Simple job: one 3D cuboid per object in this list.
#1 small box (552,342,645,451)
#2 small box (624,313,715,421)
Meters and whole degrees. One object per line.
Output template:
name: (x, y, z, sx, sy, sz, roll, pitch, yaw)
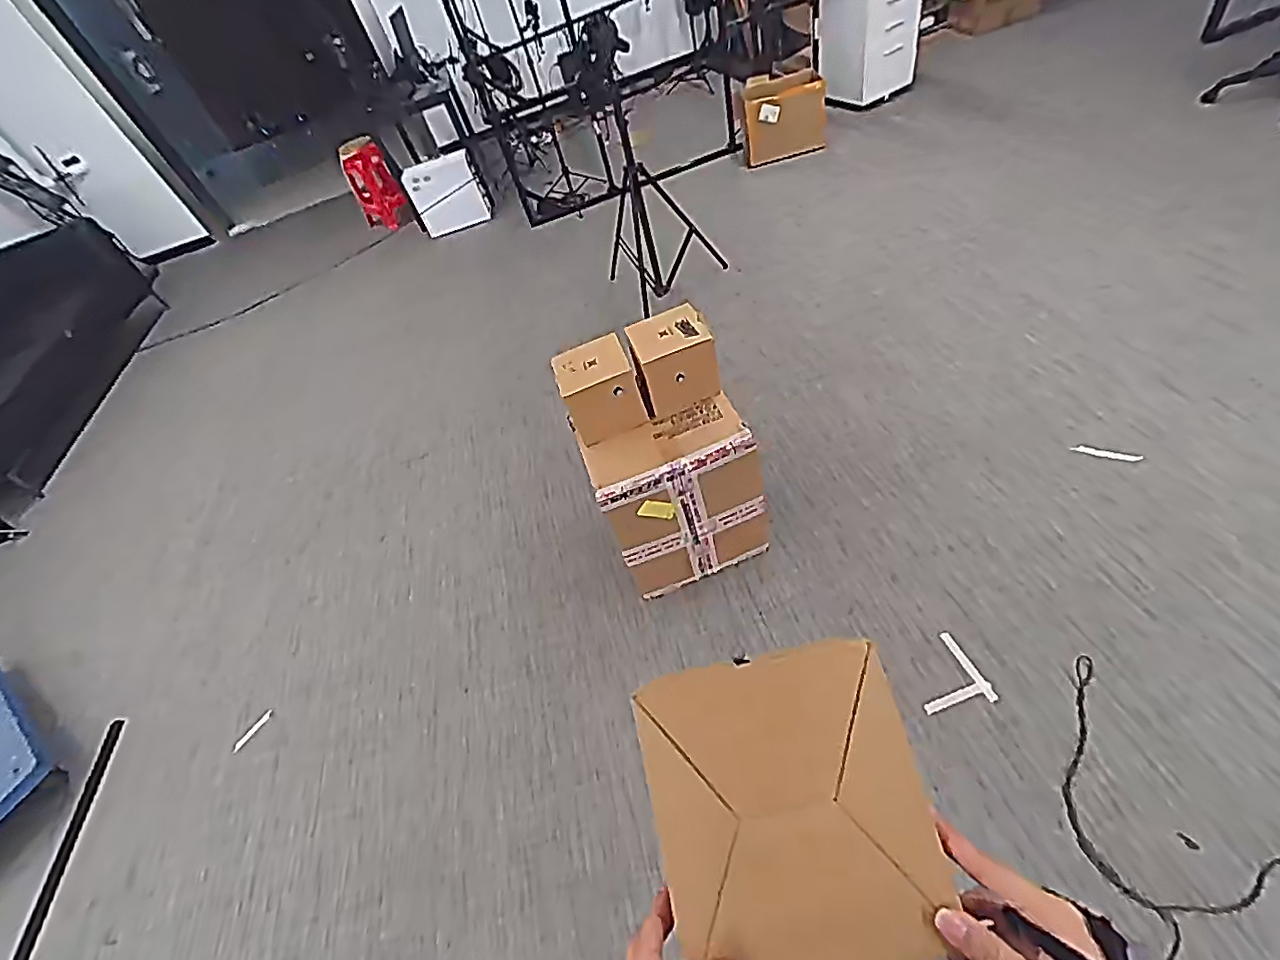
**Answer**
small box: (-0.097, -0.204, 1.338, 0.179, 0.176, 0.168, -22, 47, 2)
small box: (0.079, -0.277, 1.344, 0.179, 0.176, 0.168, -21, 48, -1)
